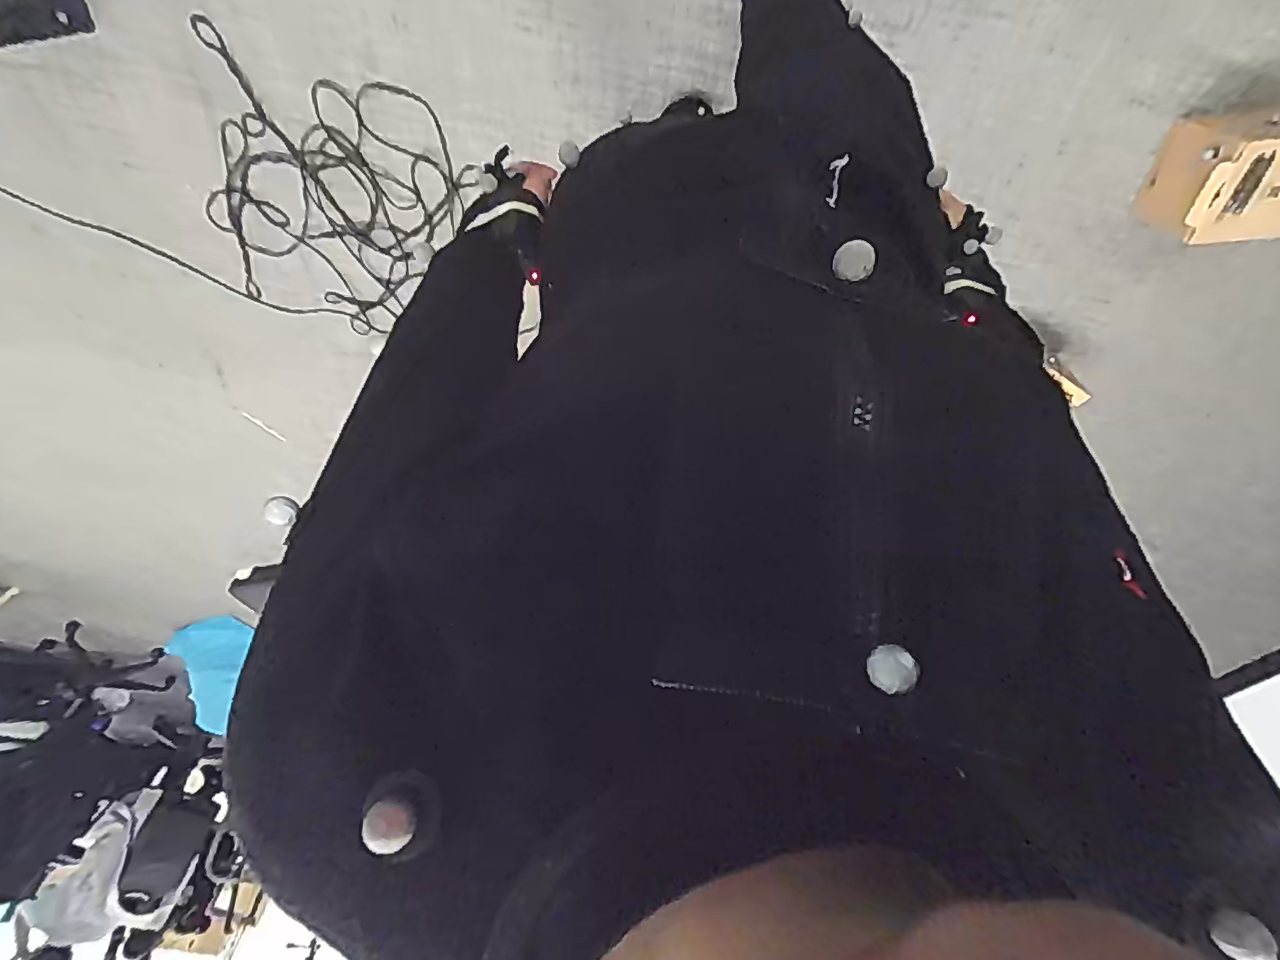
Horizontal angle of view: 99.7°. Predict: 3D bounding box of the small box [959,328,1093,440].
[{"bbox_3d":[0.916,-0.234,1.299,0.179,0.176,0.168,23,133,-17],"label":"small box"}]
